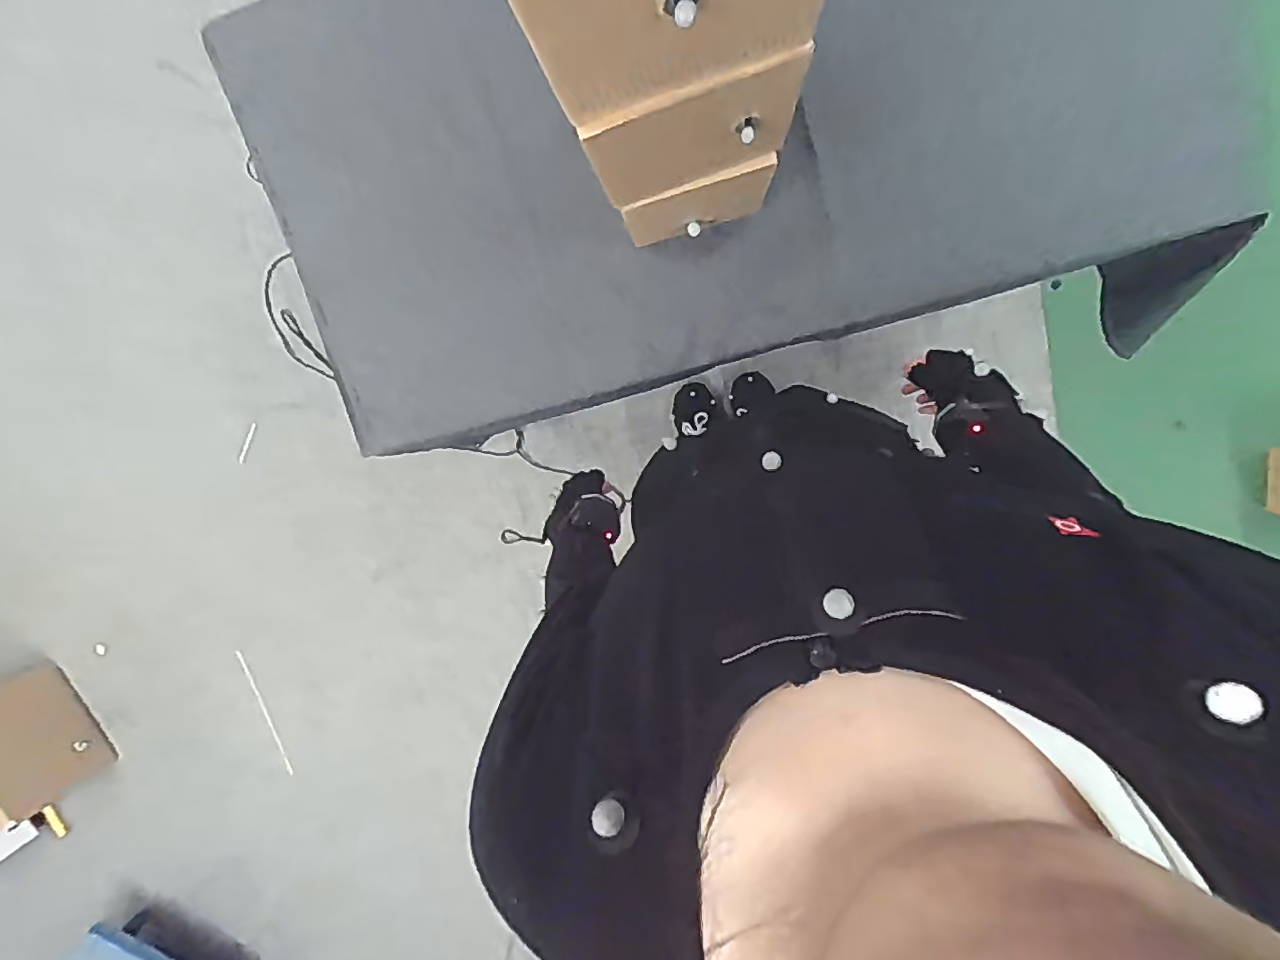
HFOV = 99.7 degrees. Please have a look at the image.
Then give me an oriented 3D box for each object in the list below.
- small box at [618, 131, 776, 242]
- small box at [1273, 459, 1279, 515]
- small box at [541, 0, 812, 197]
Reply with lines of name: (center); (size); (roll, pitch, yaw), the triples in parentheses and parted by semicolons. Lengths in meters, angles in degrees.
small box: (0.045, -0.395, 0.608); (0.168, 0.176, 0.179); (-13, 99, 9)
small box: (1.648, 0.011, 1.255); (0.179, 0.176, 0.168); (-9, 99, 7)
small box: (0.022, -0.368, 0.449); (0.179, 0.176, 0.168); (-15, 97, 9)
